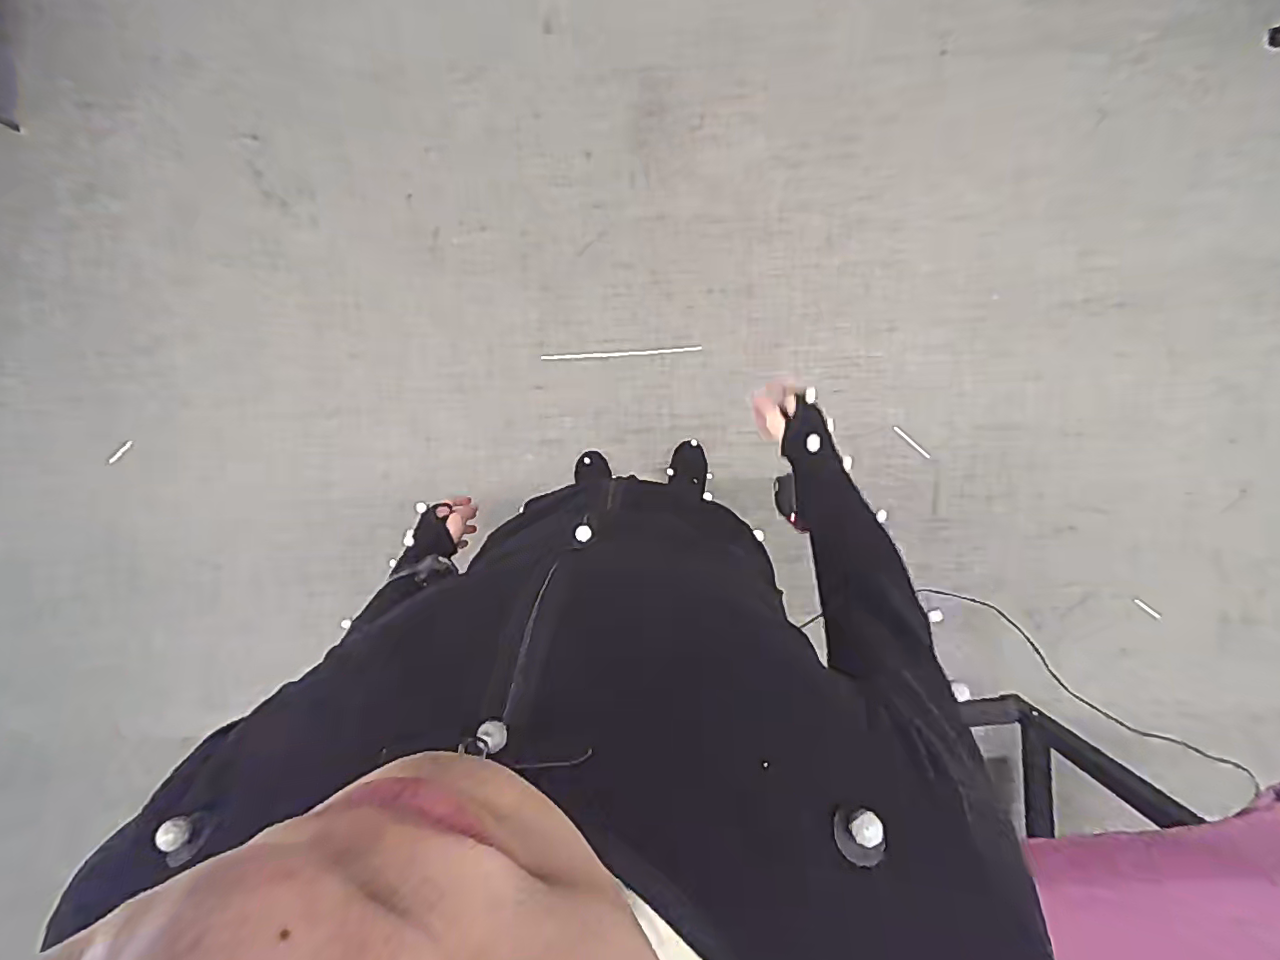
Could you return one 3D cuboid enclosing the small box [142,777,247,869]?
[{"bbox_3d":[-1.319,1.018,1.619,0.179,0.176,0.168,-7,93,2],"label":"small box"}]
